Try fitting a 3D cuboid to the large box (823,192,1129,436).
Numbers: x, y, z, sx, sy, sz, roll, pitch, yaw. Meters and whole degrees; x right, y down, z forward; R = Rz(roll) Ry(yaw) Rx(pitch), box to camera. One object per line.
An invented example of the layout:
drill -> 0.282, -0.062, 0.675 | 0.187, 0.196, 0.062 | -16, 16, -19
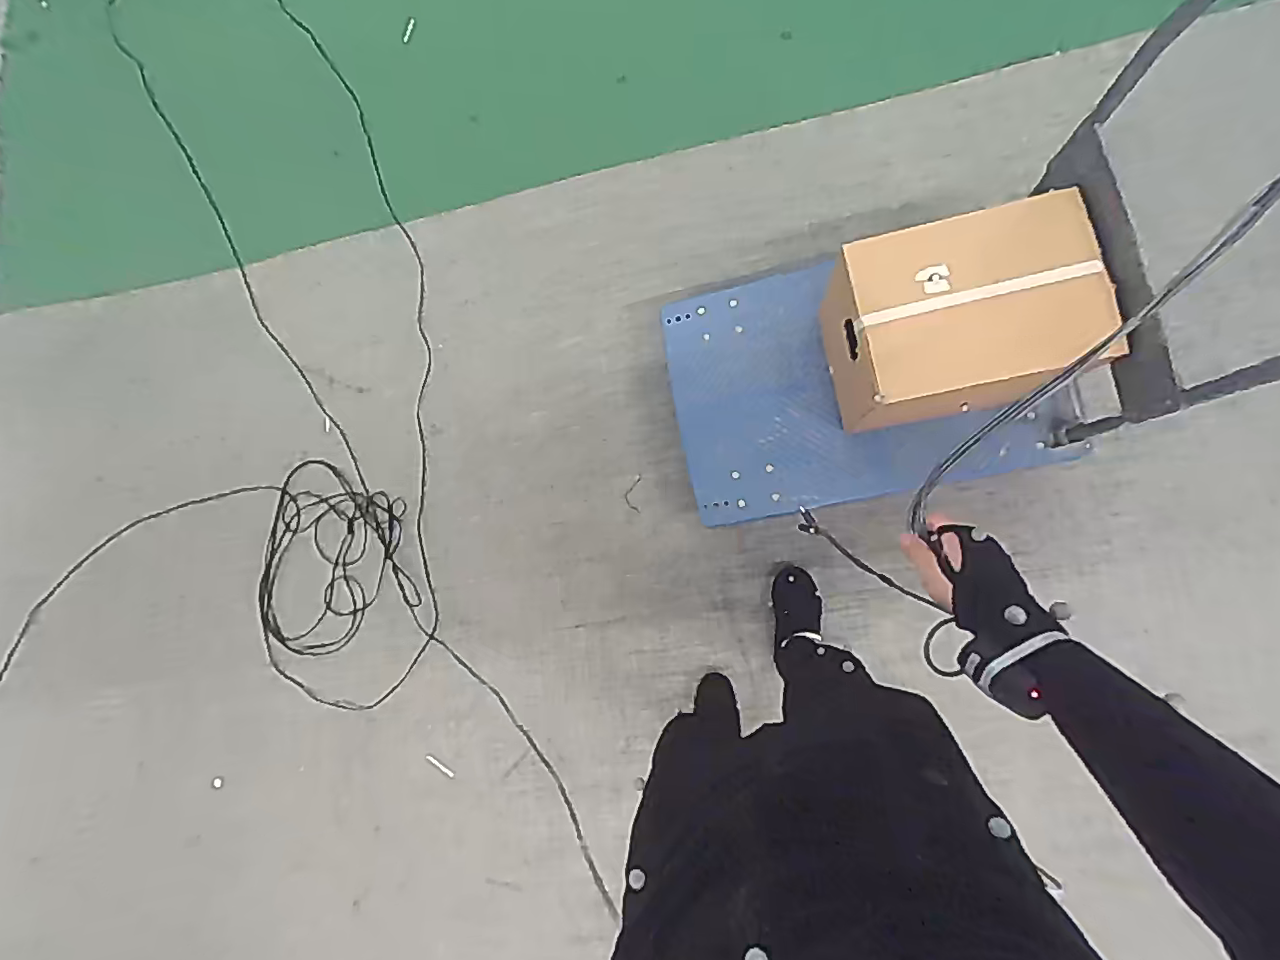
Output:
large box -> 0.623, -0.297, 1.090 | 0.408, 0.320, 0.320 | -11, 82, 9
